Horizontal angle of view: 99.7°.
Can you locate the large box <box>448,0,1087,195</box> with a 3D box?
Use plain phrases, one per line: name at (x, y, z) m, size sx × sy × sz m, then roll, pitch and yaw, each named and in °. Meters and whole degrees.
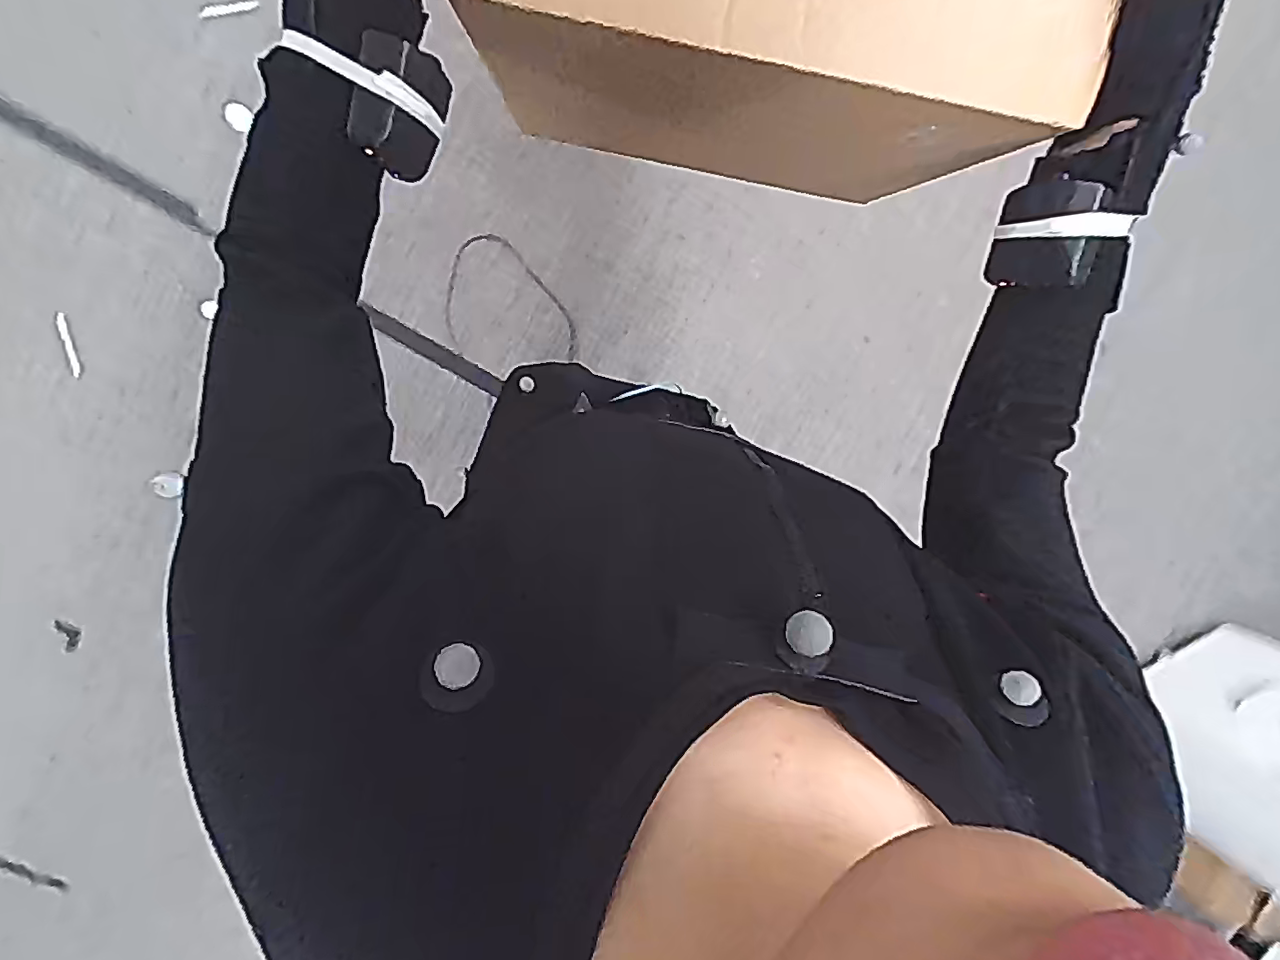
large box at (0.086, -0.451, 0.434) m, size 0.408 × 0.320 × 0.320 m, roll 7°, pitch 109°, yaw -7°
